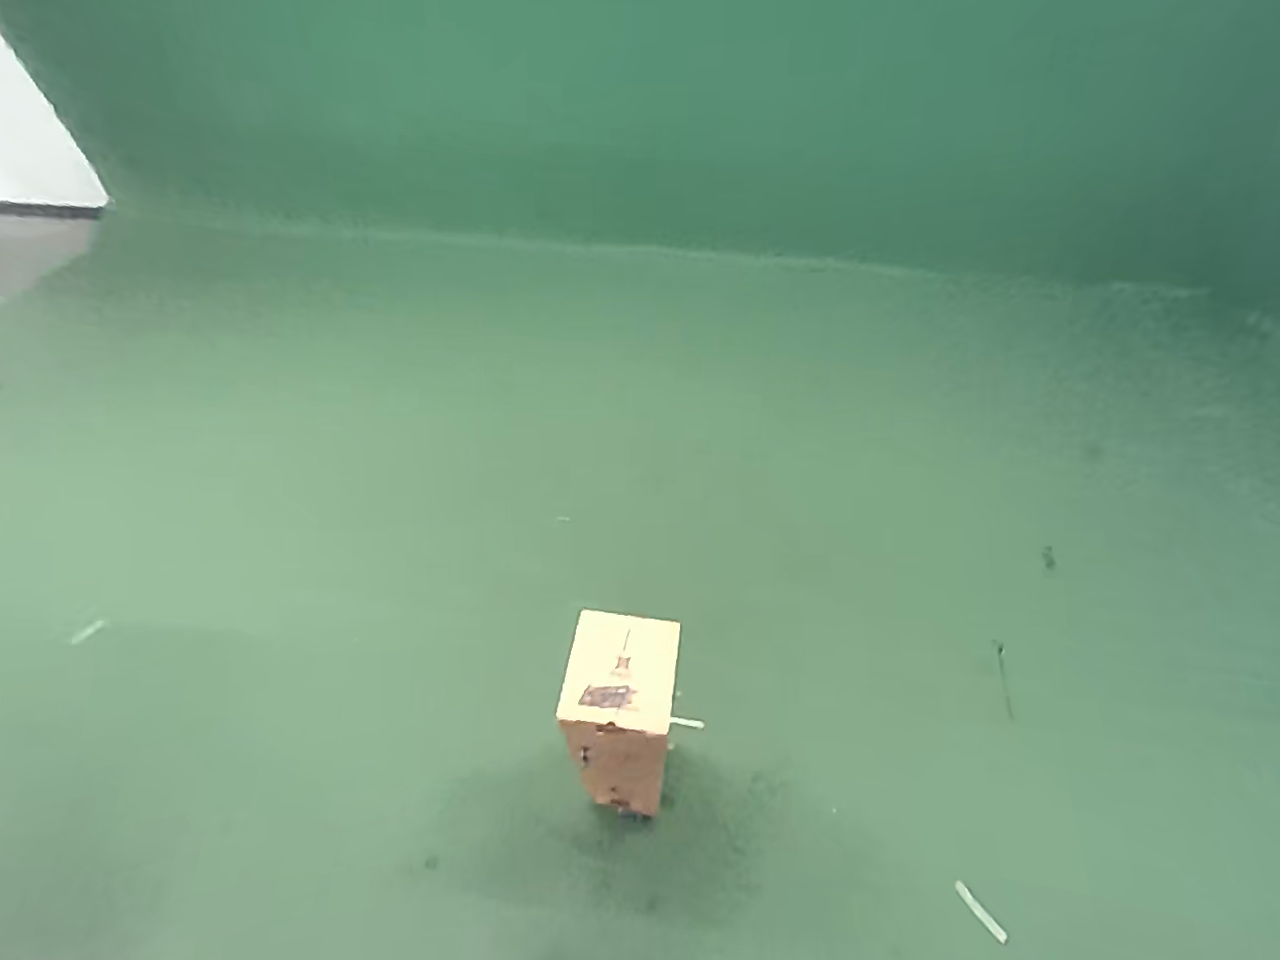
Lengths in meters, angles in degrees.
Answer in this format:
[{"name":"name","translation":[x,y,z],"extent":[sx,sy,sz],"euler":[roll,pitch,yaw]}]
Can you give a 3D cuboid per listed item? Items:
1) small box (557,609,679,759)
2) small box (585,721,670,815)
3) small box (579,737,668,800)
[{"name":"small box","translation":[-0.028,0.340,0.892],"extent":[0.168,0.176,0.179],"euler":[7,49,5]},{"name":"small box","translation":[-0.025,0.658,1.267],"extent":[0.168,0.176,0.179],"euler":[7,50,7]},{"name":"small box","translation":[-0.027,0.552,1.144],"extent":[0.168,0.176,0.179],"euler":[6,50,5]}]
